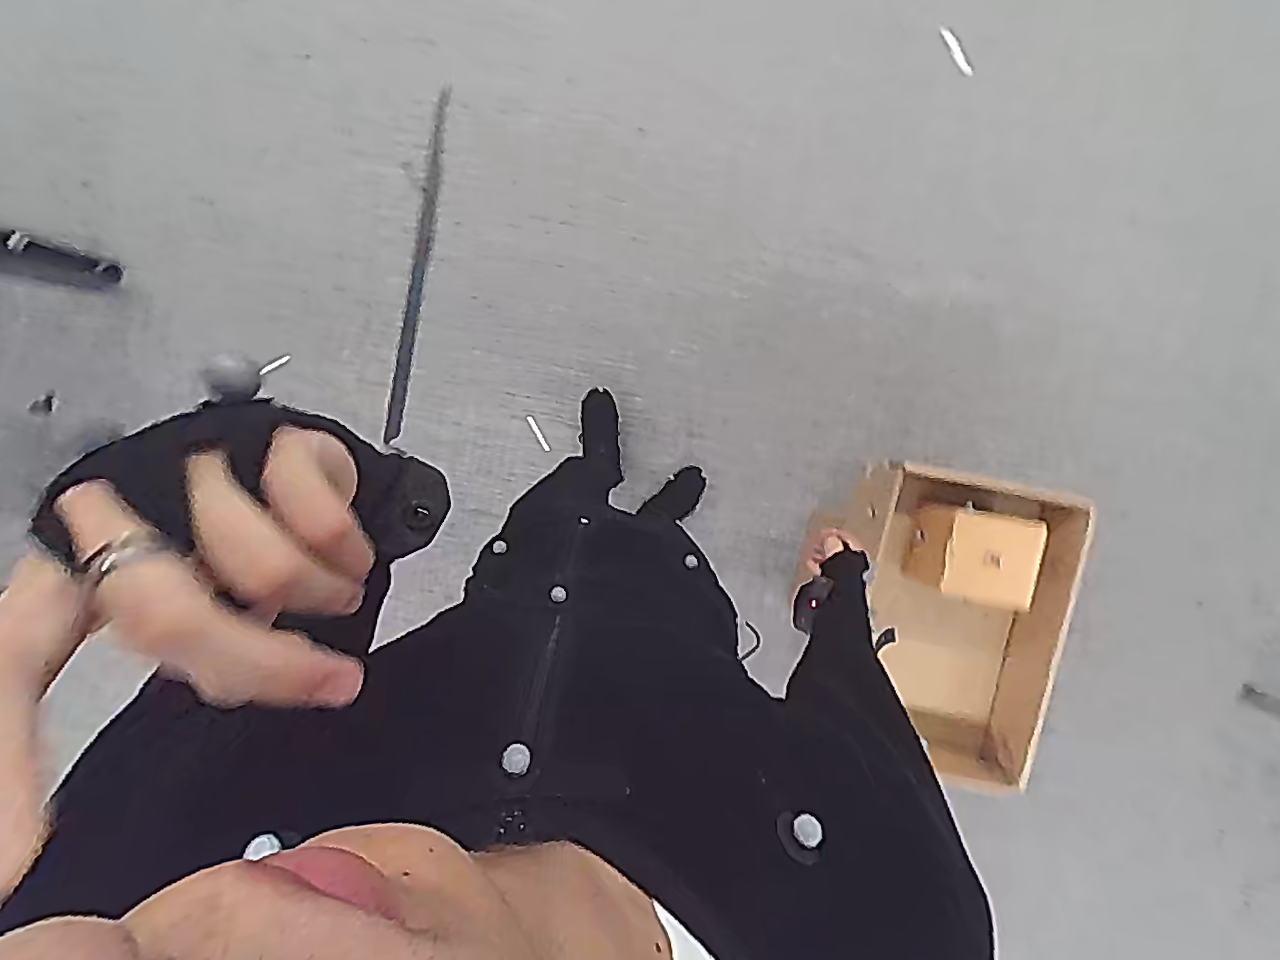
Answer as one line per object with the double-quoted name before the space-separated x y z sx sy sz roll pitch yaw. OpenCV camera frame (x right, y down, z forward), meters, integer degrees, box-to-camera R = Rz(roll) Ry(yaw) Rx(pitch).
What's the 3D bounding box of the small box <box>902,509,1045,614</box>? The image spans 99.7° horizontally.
"small box" 0.679 0.161 1.119 0.179 0.176 0.168 11 94 2
